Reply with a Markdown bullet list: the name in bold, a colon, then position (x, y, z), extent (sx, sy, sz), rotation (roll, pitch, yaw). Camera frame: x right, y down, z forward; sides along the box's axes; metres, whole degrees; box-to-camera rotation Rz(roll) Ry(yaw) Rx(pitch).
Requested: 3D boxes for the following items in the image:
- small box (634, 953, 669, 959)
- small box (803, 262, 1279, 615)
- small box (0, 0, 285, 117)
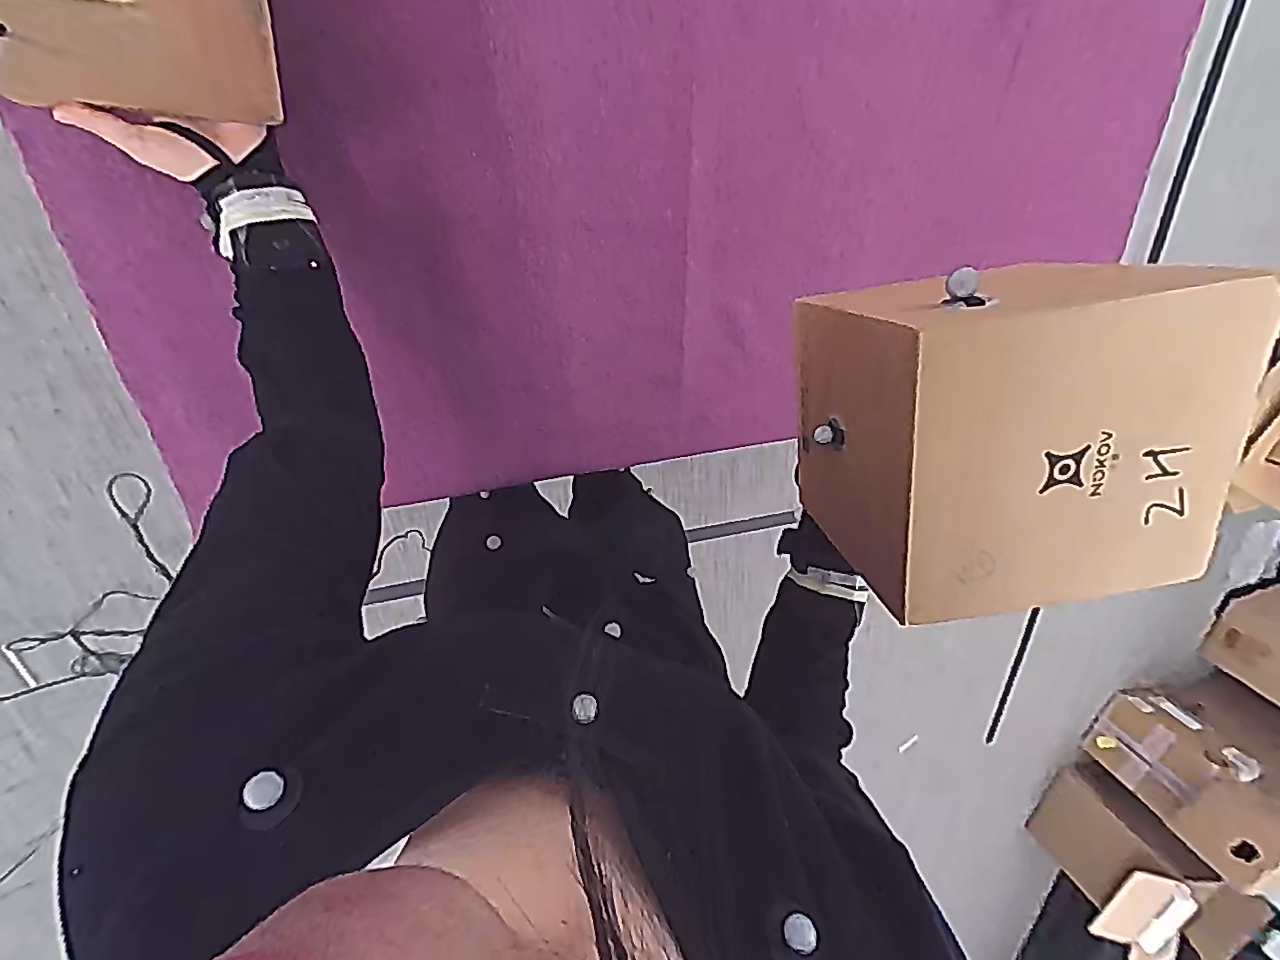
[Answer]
- **small box**: position (0.034, 1.701, 1.773), extent (0.168, 0.176, 0.179), rotation (-5, 116, -15)
- **small box**: position (0.214, -0.041, 0.348), extent (0.179, 0.176, 0.168), rotation (-9, 114, -1)
- **small box**: position (-0.342, -0.333, 0.306), extent (0.179, 0.176, 0.168), rotation (-2, 105, -10)
